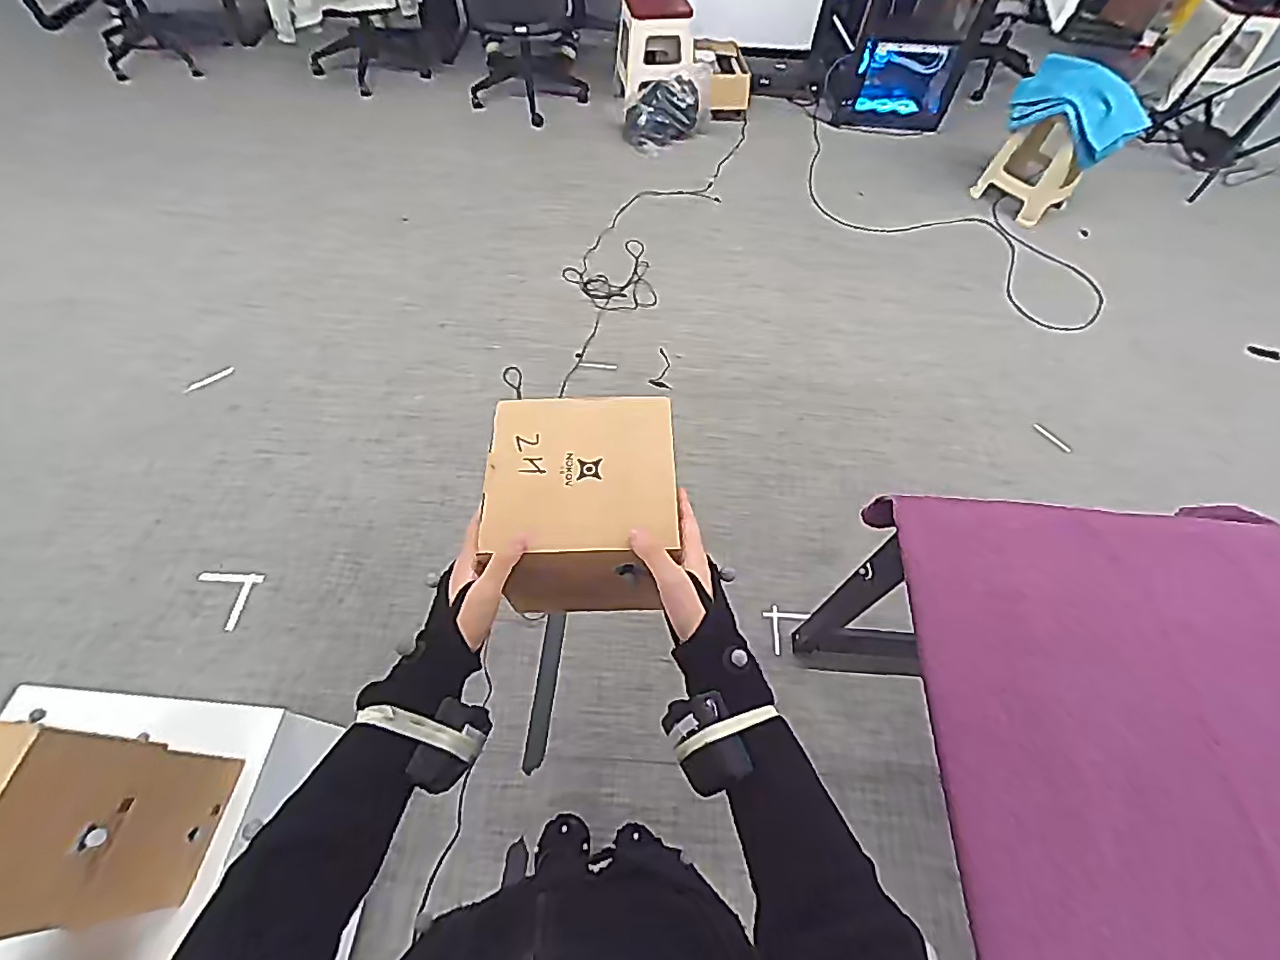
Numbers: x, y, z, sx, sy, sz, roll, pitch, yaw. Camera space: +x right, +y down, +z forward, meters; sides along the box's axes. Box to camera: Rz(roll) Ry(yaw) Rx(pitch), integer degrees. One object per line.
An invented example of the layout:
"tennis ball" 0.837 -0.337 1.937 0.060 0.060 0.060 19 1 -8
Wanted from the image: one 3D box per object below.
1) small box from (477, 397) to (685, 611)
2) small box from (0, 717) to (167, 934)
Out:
"small box" -0.050 0.031 0.559 0.179 0.176 0.168 -2 59 1
"small box" -0.625 0.319 0.511 0.179 0.176 0.168 7 59 1
